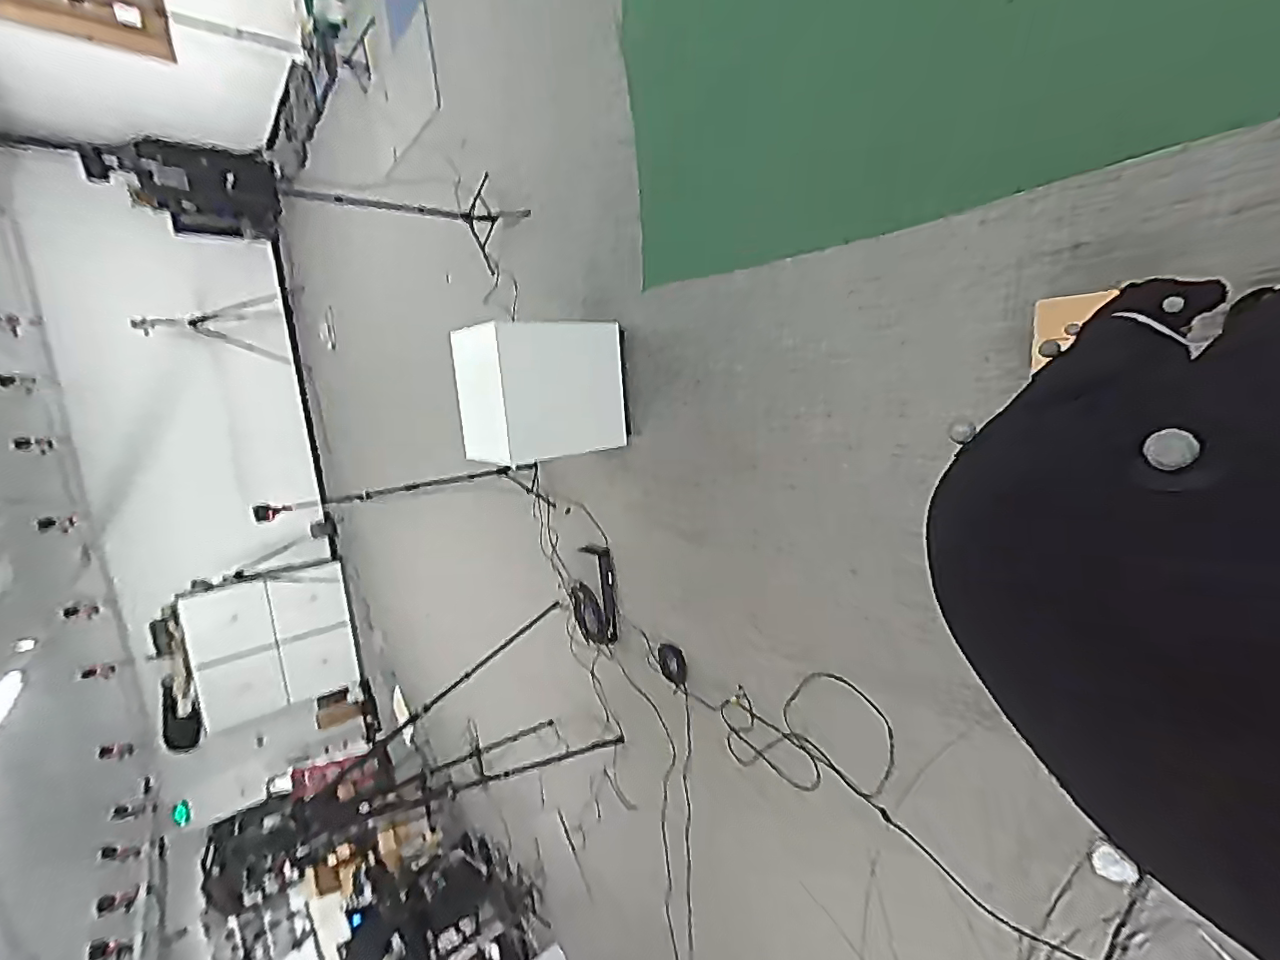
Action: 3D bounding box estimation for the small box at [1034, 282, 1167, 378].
[{"bbox_3d":[0.920,-0.295,1.081,0.179,0.176,0.168,8,106,49],"label":"small box"}]
